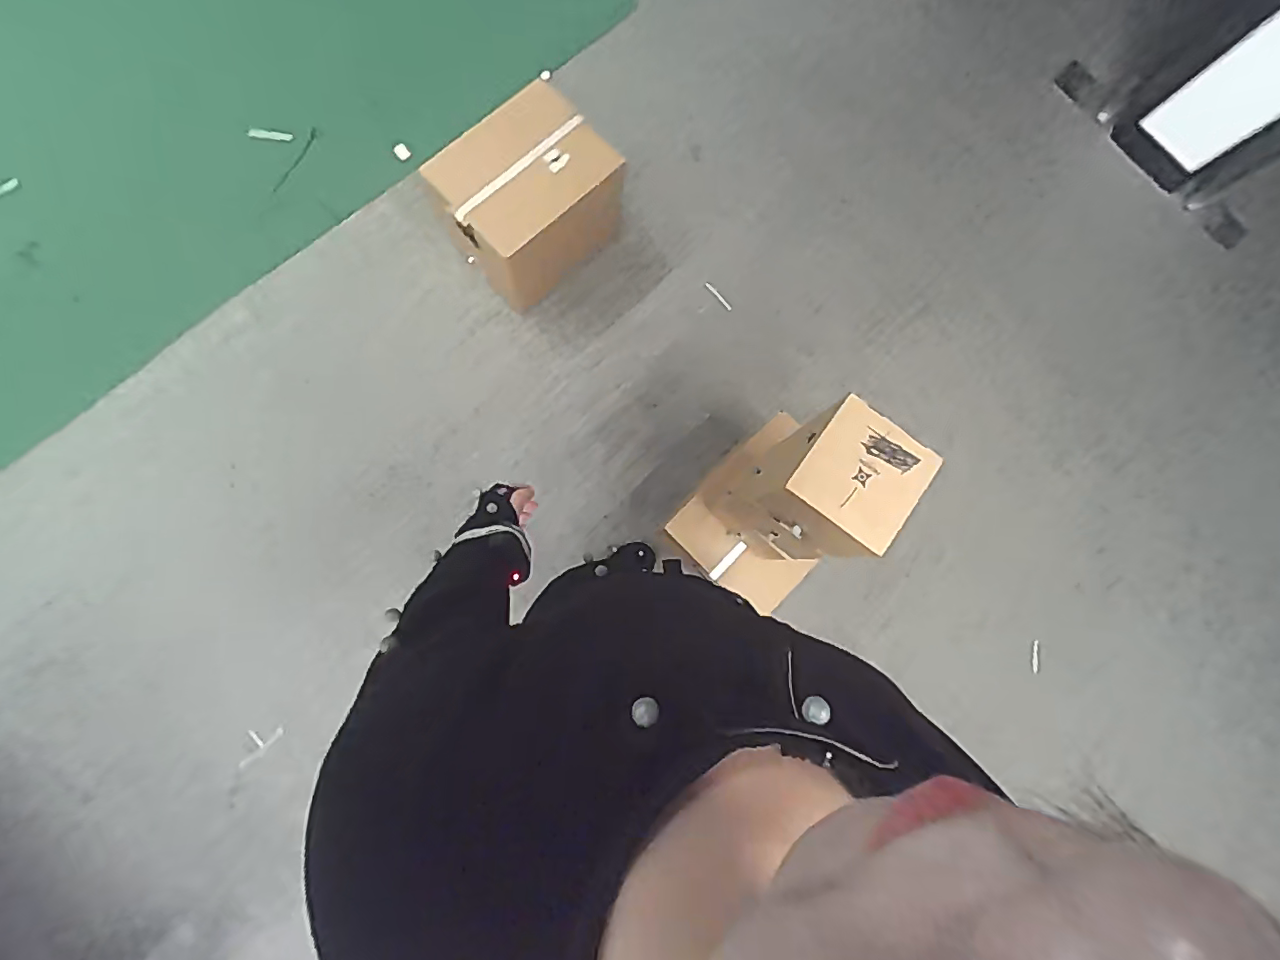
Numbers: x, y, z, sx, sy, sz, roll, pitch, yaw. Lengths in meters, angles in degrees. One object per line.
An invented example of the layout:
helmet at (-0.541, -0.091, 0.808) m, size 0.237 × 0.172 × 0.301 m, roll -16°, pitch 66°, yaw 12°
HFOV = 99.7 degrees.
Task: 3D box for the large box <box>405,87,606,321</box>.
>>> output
large box at (-0.335, -0.722, 1.463) m, size 0.320 × 0.320 × 0.408 m, roll 43°, pitch 81°, yaw 3°

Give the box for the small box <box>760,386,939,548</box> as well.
small box at (0.309, -0.010, 0.837) m, size 0.168 × 0.176 × 0.179 m, roll 33°, pitch 82°, yaw 3°

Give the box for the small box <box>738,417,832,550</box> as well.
small box at (0.299, 0.015, 1.000) m, size 0.168 × 0.176 × 0.179 m, roll 34°, pitch 82°, yaw 2°
